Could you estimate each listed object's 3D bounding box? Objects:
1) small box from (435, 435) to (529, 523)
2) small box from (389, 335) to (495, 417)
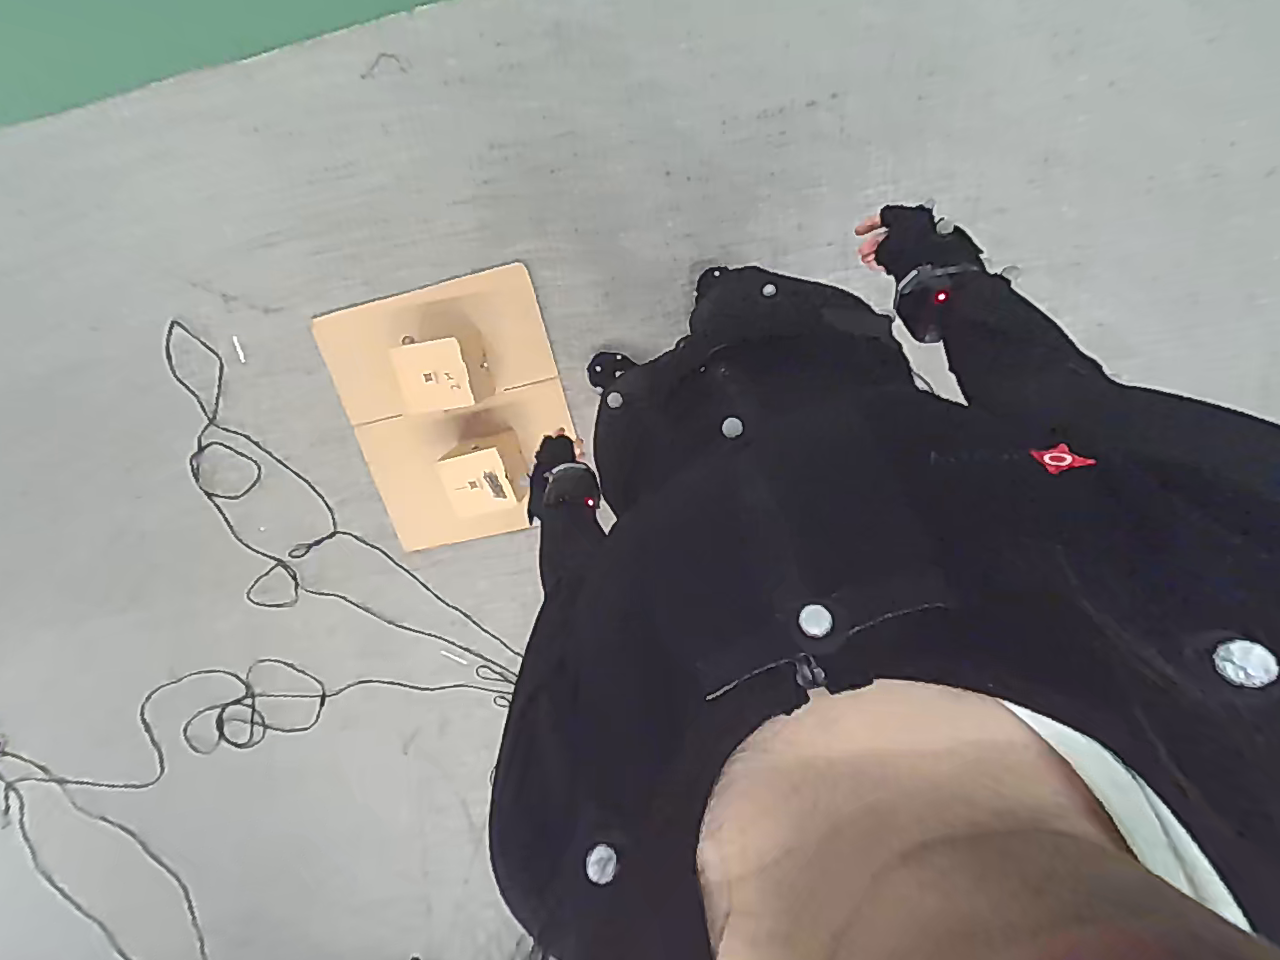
[{"bbox_3d":[-0.407,-0.009,1.438,0.179,0.176,0.168,-14,108,8],"label":"small box"},{"bbox_3d":[-0.488,-0.264,1.358,0.179,0.176,0.168,-8,109,5],"label":"small box"}]
